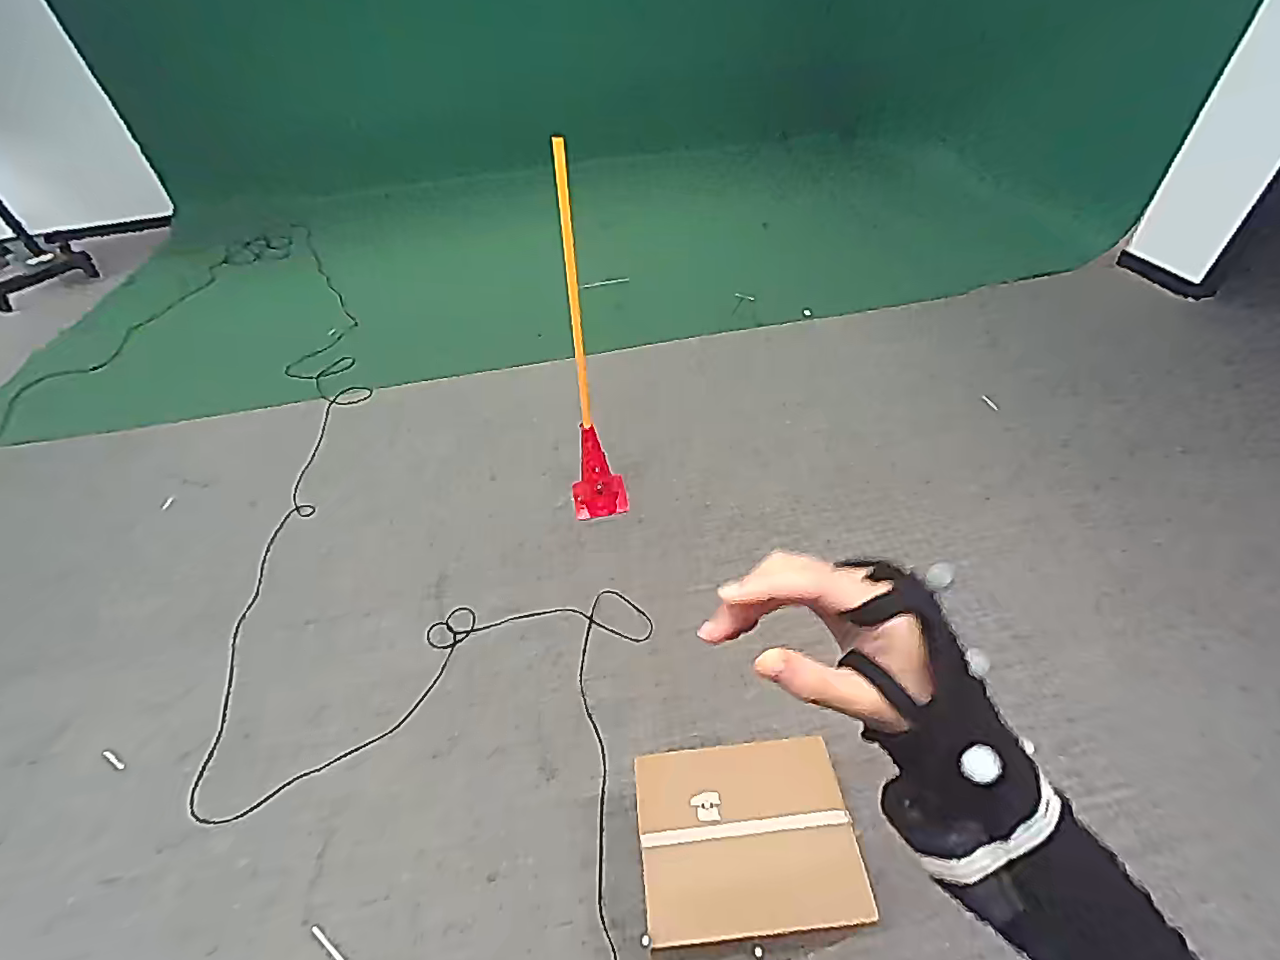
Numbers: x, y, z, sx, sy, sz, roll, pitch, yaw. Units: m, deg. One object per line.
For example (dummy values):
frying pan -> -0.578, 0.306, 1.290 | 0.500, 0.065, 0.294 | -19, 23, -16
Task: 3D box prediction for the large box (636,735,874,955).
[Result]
large box -> 0.213, 0.778, 1.148 | 0.408, 0.320, 0.320 | -6, 45, 0
